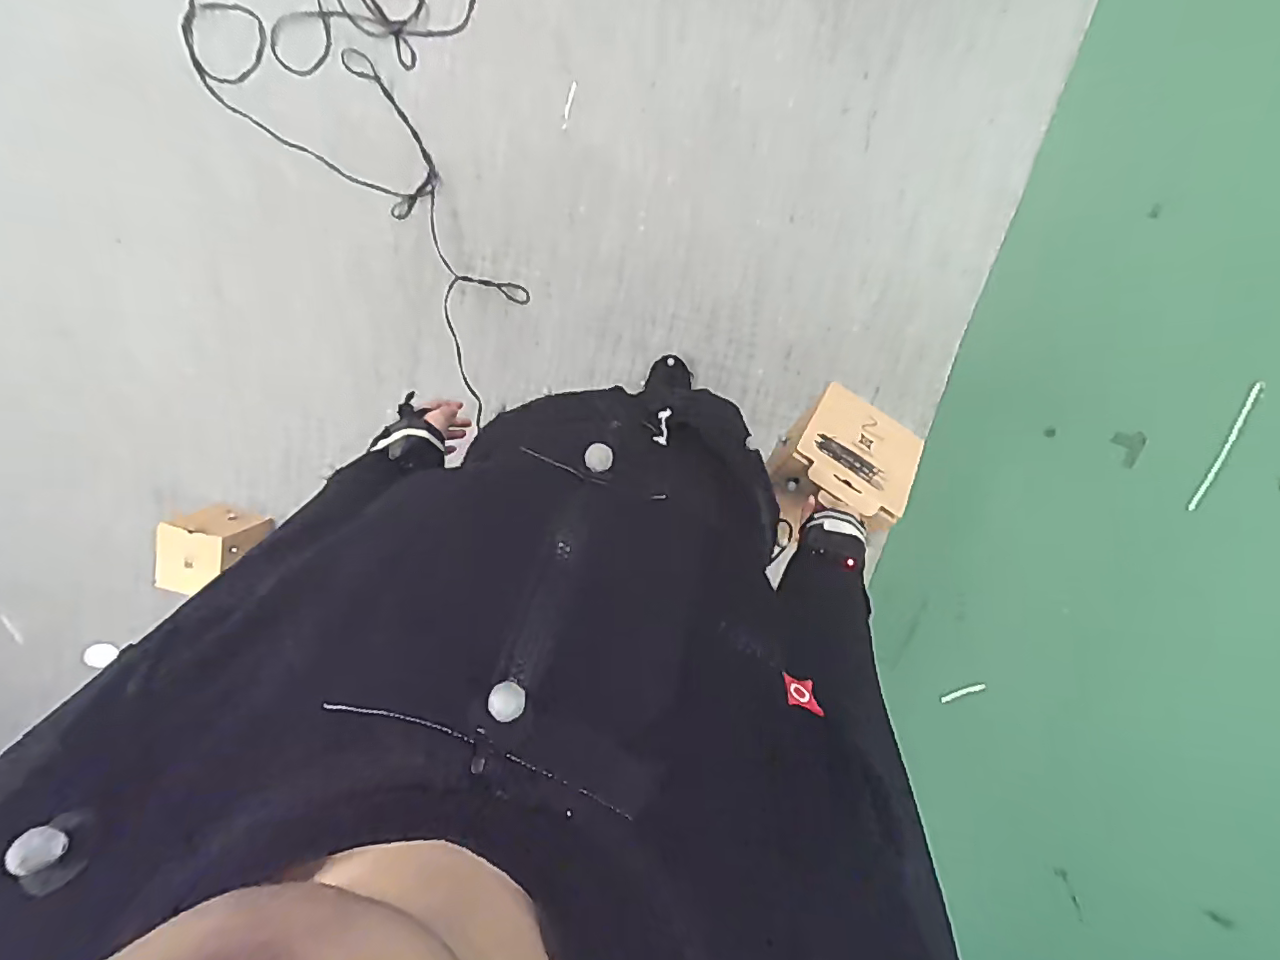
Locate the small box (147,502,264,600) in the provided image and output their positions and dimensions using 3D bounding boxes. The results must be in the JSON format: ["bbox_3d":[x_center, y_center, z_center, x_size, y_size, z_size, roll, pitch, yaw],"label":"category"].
[{"bbox_3d":[-1.100,0.175,1.380,0.168,0.176,0.179,14,103,1],"label":"small box"}]
